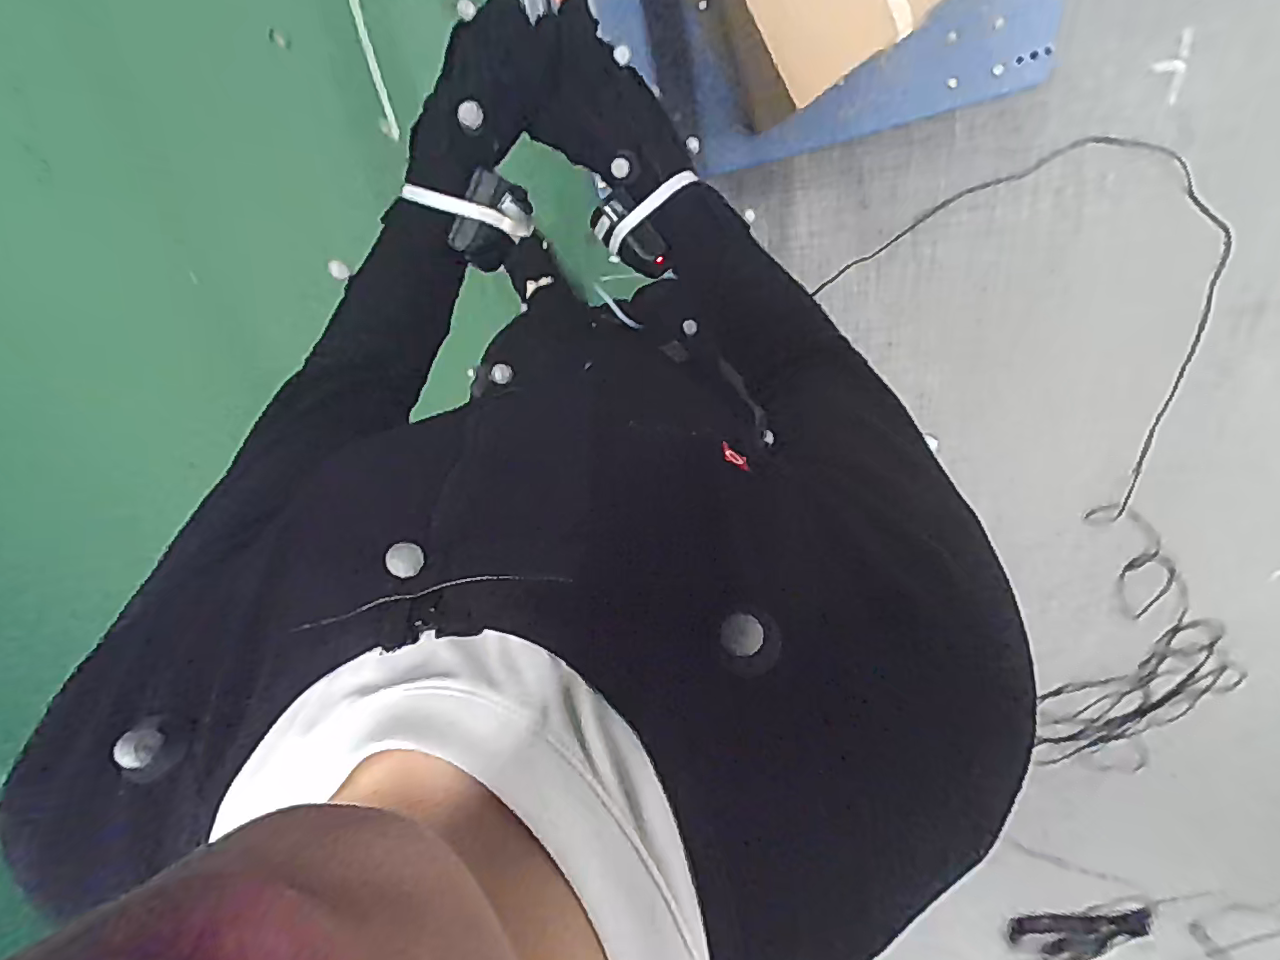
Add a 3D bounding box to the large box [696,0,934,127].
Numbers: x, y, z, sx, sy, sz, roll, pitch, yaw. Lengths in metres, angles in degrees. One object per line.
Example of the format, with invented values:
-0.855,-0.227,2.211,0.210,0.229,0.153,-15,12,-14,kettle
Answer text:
0.235,-0.813,0.773,0.320,0.320,0.408,-32,112,15,large box
